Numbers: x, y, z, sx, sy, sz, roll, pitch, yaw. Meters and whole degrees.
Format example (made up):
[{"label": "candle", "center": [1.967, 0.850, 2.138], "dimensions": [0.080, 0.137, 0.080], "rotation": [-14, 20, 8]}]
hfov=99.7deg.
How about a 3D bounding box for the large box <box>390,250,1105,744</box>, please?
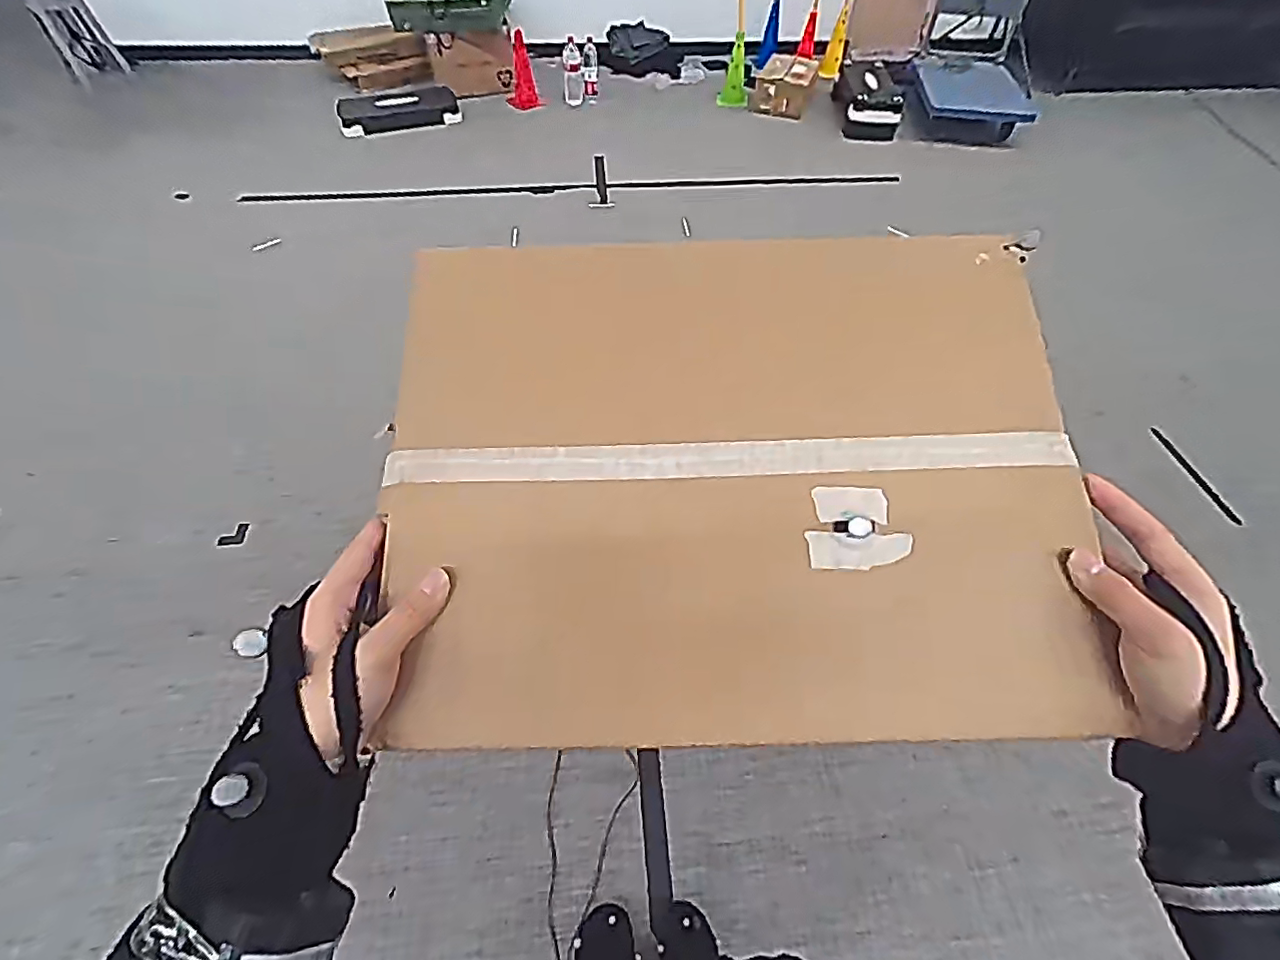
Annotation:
[{"label": "large box", "center": [0.054, 0.033, 0.481], "dimensions": [0.408, 0.320, 0.320], "rotation": [-1, 74, 0]}]
